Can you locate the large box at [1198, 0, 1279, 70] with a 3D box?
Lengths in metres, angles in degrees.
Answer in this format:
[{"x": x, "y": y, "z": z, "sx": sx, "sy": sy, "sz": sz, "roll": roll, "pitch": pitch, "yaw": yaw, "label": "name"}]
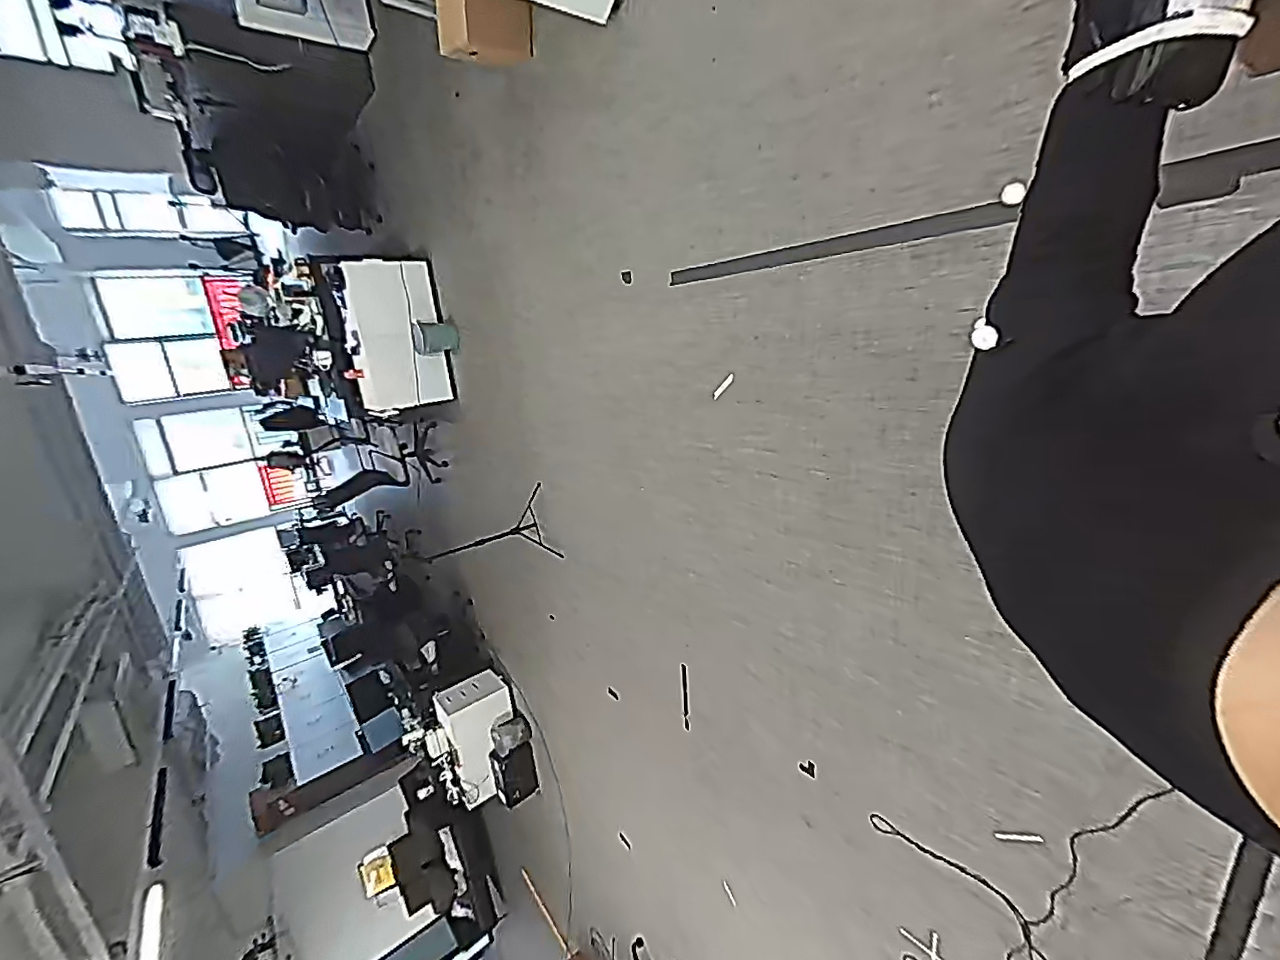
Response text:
[{"x": 0.587, "y": -0.472, "z": 0.254, "sx": 0.408, "sy": 0.320, "sz": 0.320, "roll": 14, "pitch": 119, "yaw": 49, "label": "large box"}]
